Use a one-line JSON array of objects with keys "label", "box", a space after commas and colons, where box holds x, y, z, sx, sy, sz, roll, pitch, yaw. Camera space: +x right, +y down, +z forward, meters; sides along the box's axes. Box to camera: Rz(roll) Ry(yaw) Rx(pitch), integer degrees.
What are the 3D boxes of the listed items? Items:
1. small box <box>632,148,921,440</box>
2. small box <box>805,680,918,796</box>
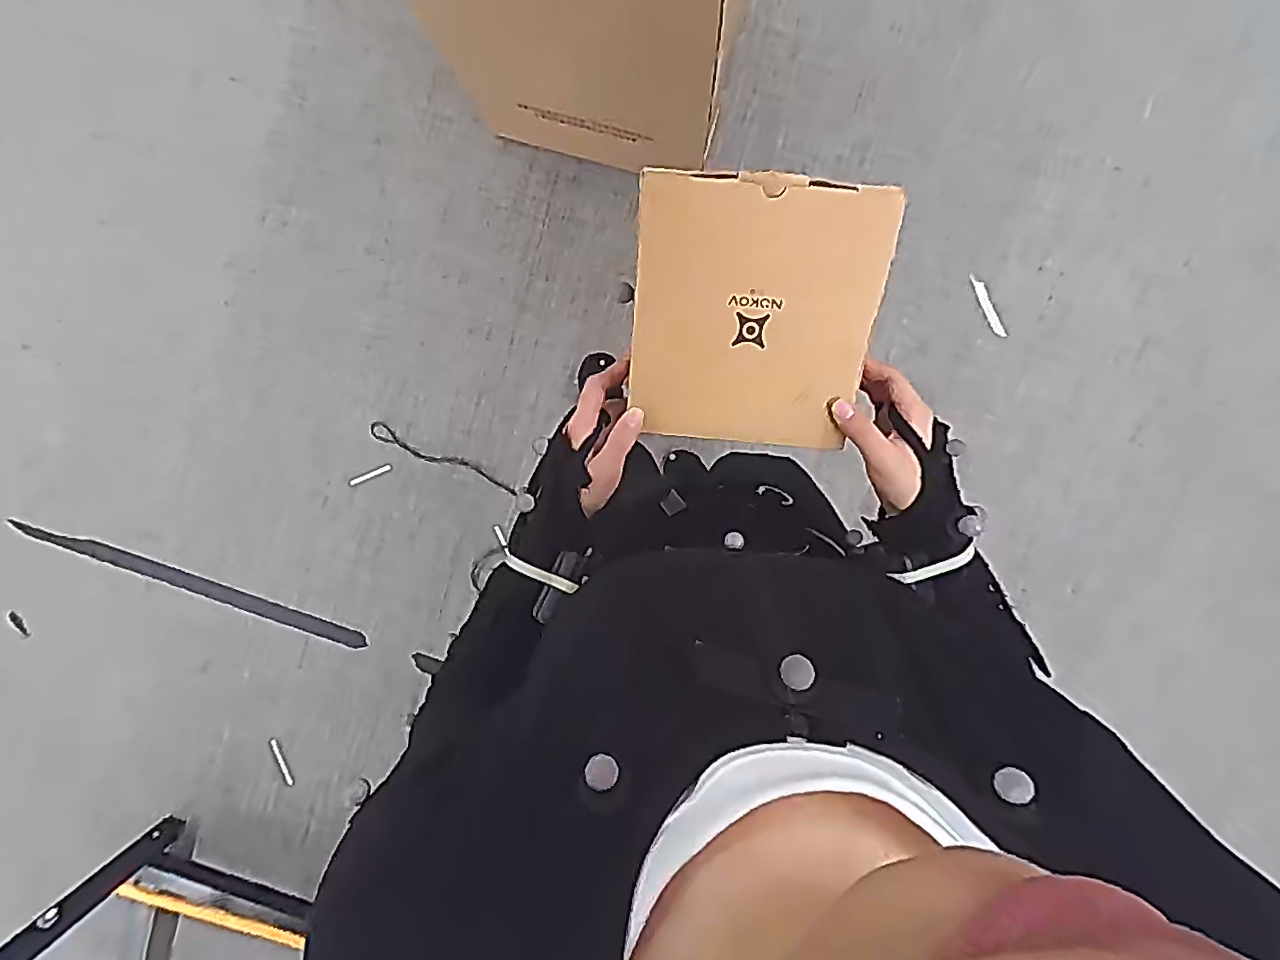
[{"label": "small box", "box": [0.087, -0.148, 0.432, 0.168, 0.176, 0.179, 5, 115, 1]}, {"label": "small box", "box": [0.522, 0.608, 1.300, 0.179, 0.176, 0.168, 19, 94, 2]}]
